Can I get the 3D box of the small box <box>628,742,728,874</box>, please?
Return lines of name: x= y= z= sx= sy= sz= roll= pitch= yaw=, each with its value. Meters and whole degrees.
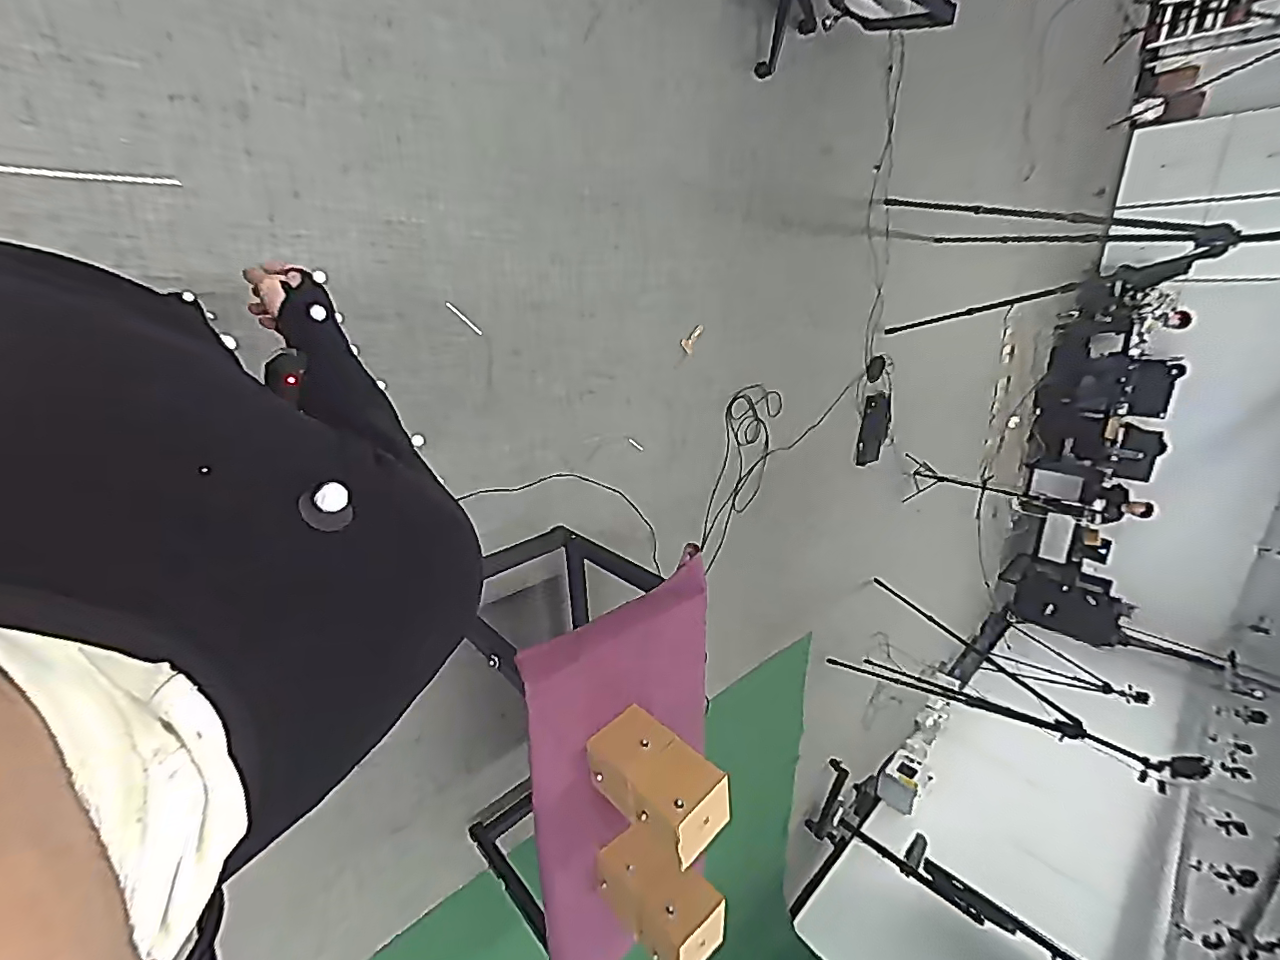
small box: x=0.094 y=0.780 z=1.308 sx=0.179 sy=0.176 sz=0.168 roll=-25 pitch=120 yaw=-35

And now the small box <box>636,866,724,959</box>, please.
small box: x=0.103 y=1.184 z=1.446 sx=0.179 sy=0.176 sz=0.168 roll=-15 pitch=114 yaw=-40

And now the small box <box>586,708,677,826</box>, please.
small box: x=-0.018 y=0.741 z=1.419 sx=0.179 sy=0.176 sz=0.168 roll=-23 pitch=118 yaw=-37
